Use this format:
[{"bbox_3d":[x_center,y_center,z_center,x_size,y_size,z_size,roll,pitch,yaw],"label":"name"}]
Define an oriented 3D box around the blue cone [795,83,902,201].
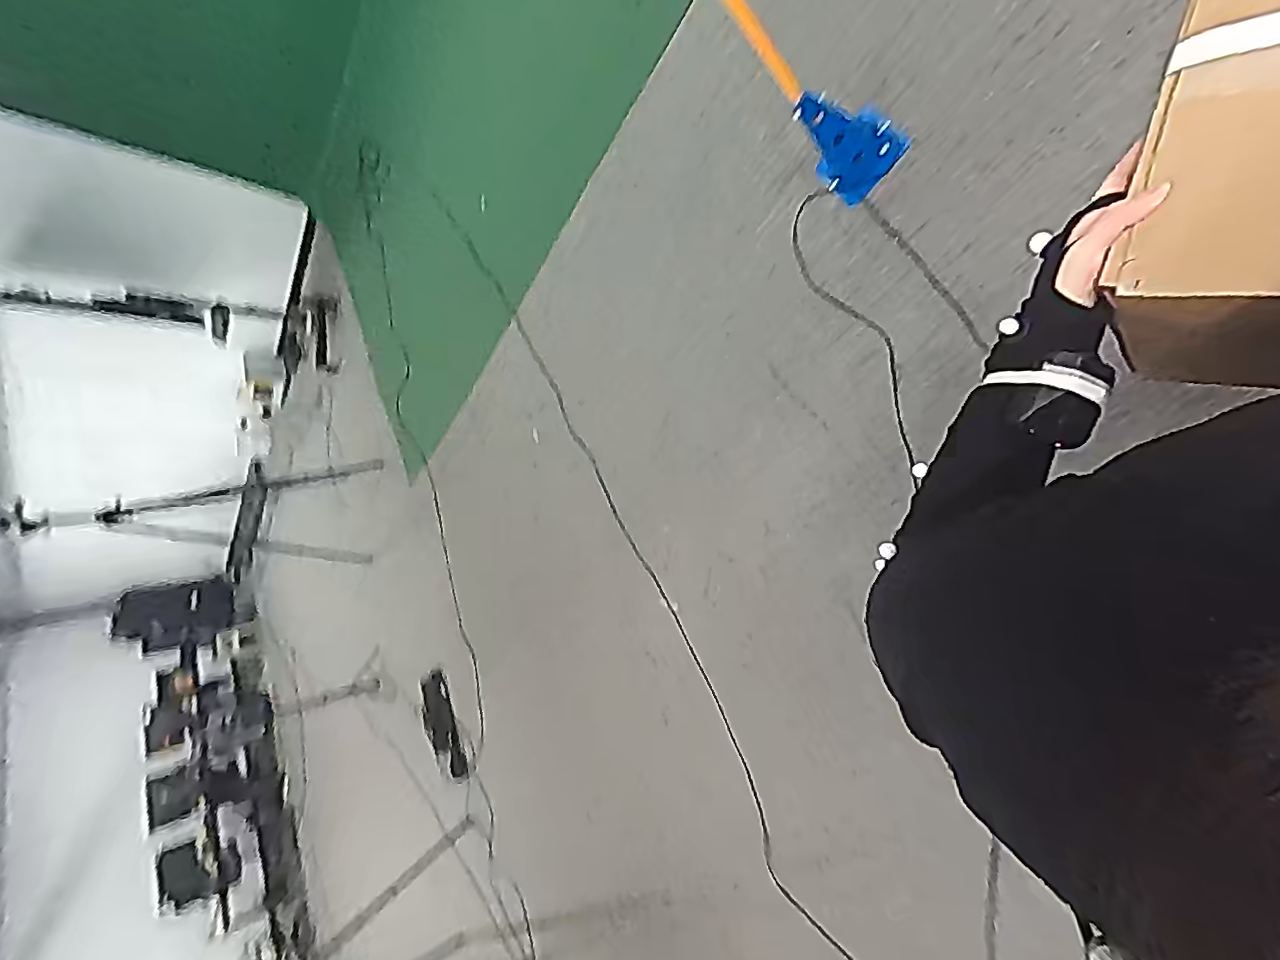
[{"bbox_3d":[0.490,-0.898,1.376,0.193,0.380,0.192,-47,61,33],"label":"blue cone"}]
